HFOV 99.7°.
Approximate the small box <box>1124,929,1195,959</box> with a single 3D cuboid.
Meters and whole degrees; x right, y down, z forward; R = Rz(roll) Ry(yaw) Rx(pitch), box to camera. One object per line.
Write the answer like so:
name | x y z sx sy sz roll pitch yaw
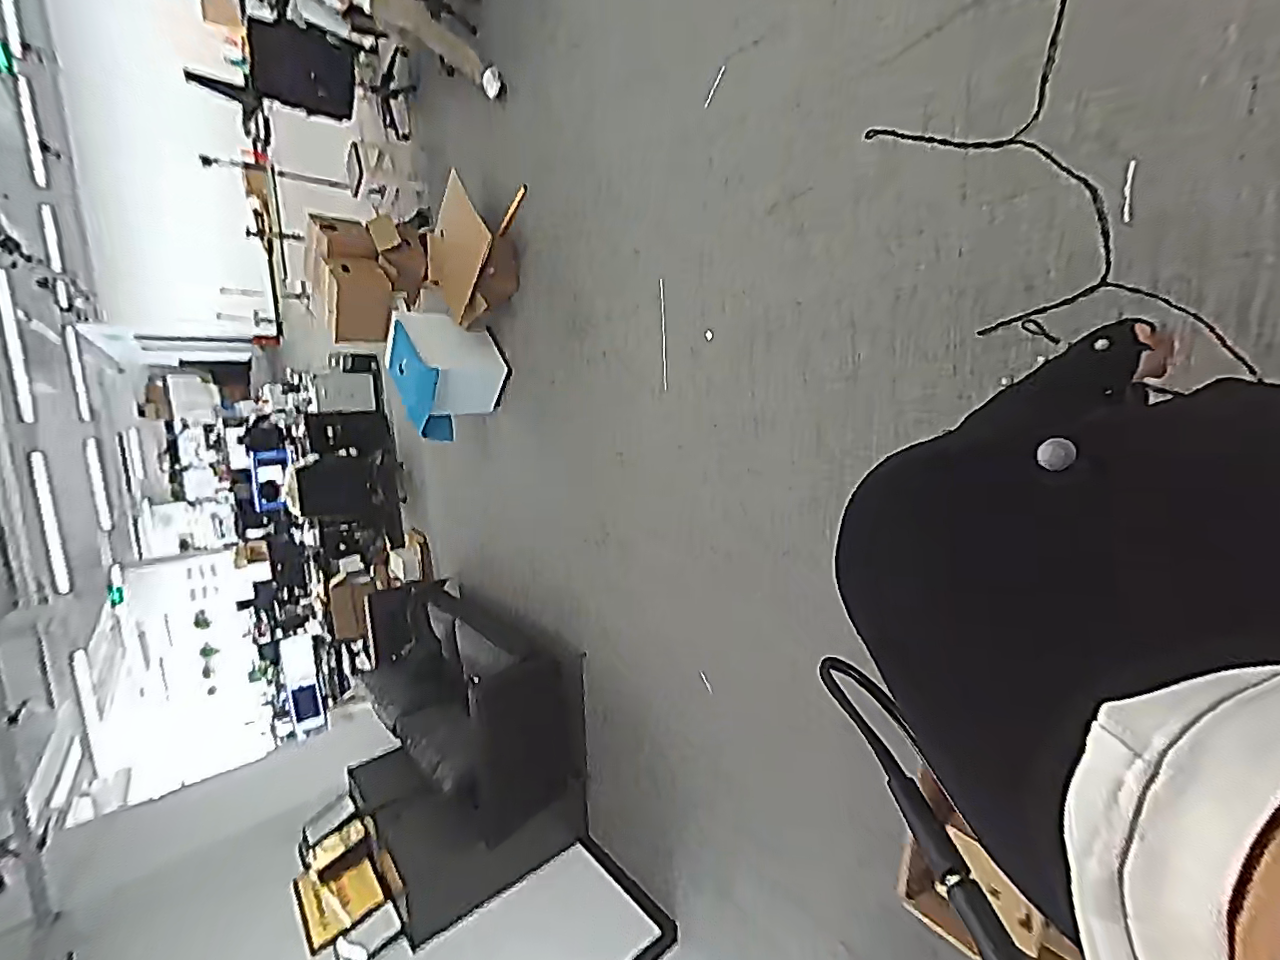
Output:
small box | 0.791 0.820 0.780 0.168 0.176 0.179 20 113 47
